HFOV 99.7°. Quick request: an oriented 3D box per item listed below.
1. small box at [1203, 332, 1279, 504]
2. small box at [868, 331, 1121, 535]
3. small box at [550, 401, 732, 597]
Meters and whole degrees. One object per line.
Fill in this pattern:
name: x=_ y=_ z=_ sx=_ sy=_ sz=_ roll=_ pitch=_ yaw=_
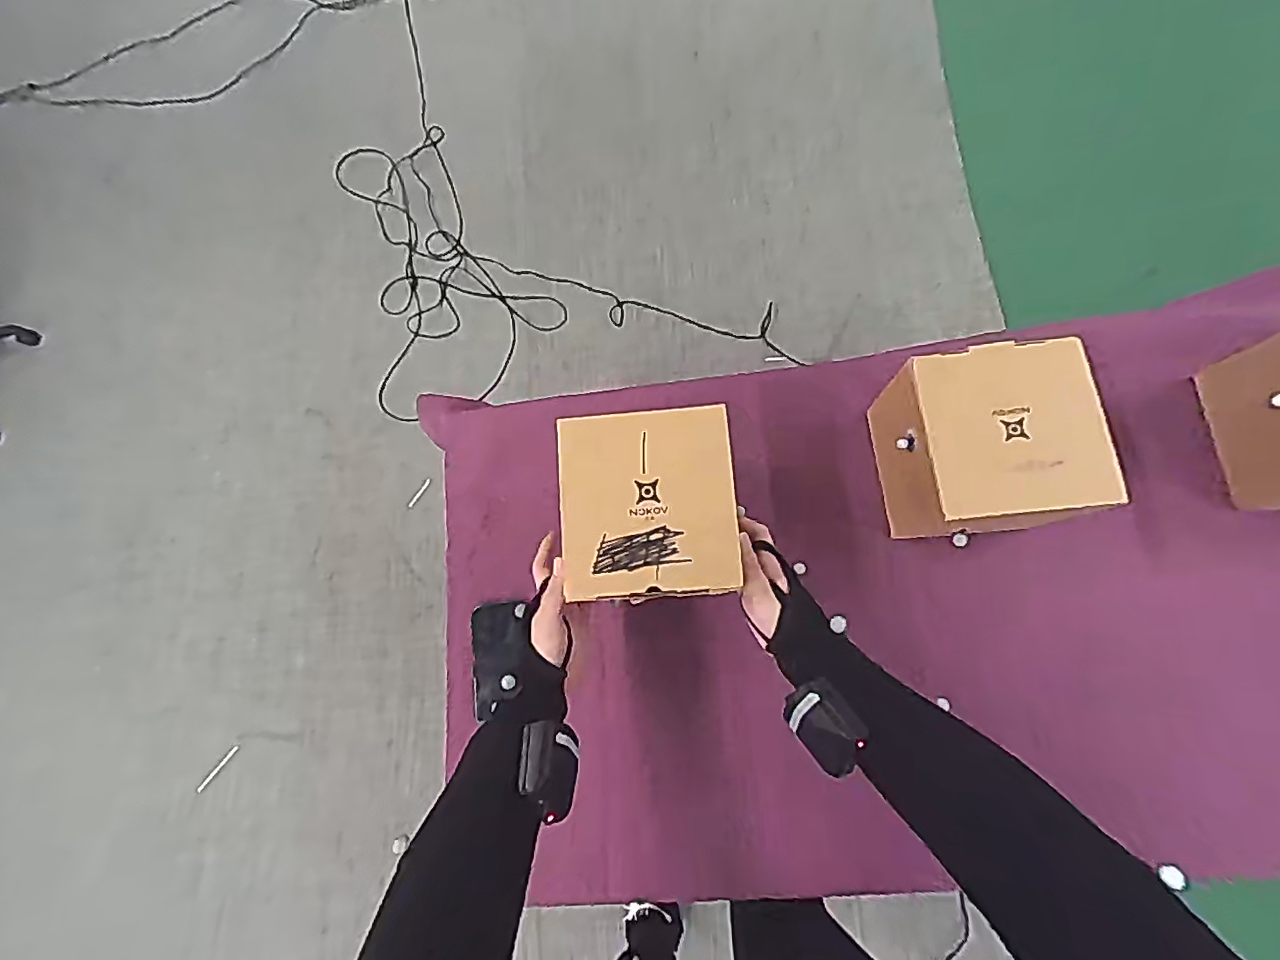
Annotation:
small box: x=0.757 y=-0.082 z=0.559 sx=0.168 sy=0.176 sz=0.179 roll=-6 pitch=76 yaw=8
small box: x=0.370 y=-0.041 z=0.606 sx=0.168 sy=0.176 sz=0.179 roll=-6 pitch=77 yaw=7
small box: x=0.006 y=0.028 z=0.585 sx=0.168 sy=0.176 sz=0.179 roll=-5 pitch=80 yaw=4
